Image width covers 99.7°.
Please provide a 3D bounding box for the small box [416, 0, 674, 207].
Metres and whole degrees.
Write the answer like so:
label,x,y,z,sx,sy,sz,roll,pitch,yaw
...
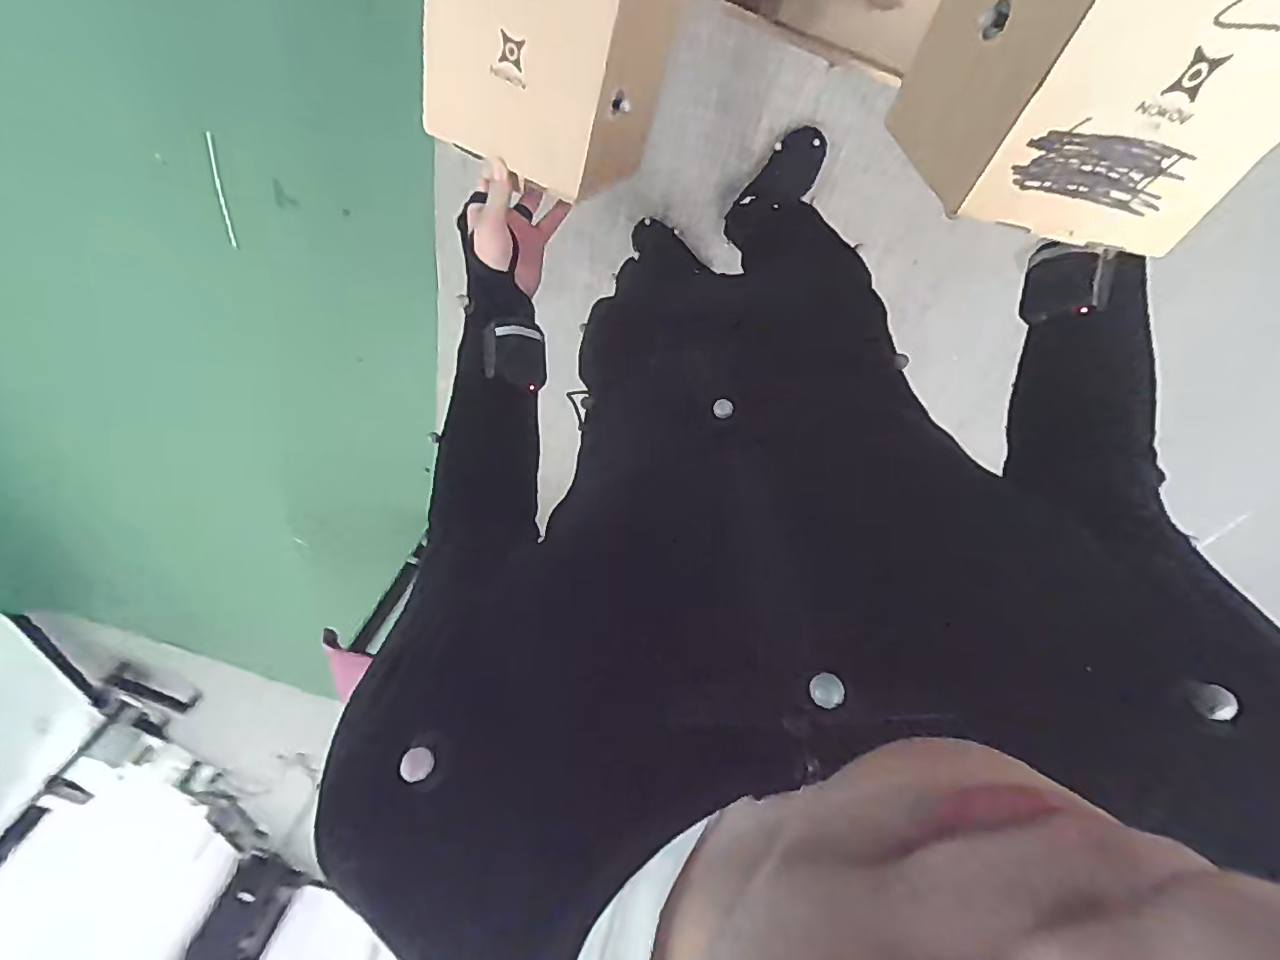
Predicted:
label,x,y,z,sx,sy,sz,roll,pitch,yaw
small box,-0.085,-0.394,0.505,0.168,0.176,0.179,27,134,3
